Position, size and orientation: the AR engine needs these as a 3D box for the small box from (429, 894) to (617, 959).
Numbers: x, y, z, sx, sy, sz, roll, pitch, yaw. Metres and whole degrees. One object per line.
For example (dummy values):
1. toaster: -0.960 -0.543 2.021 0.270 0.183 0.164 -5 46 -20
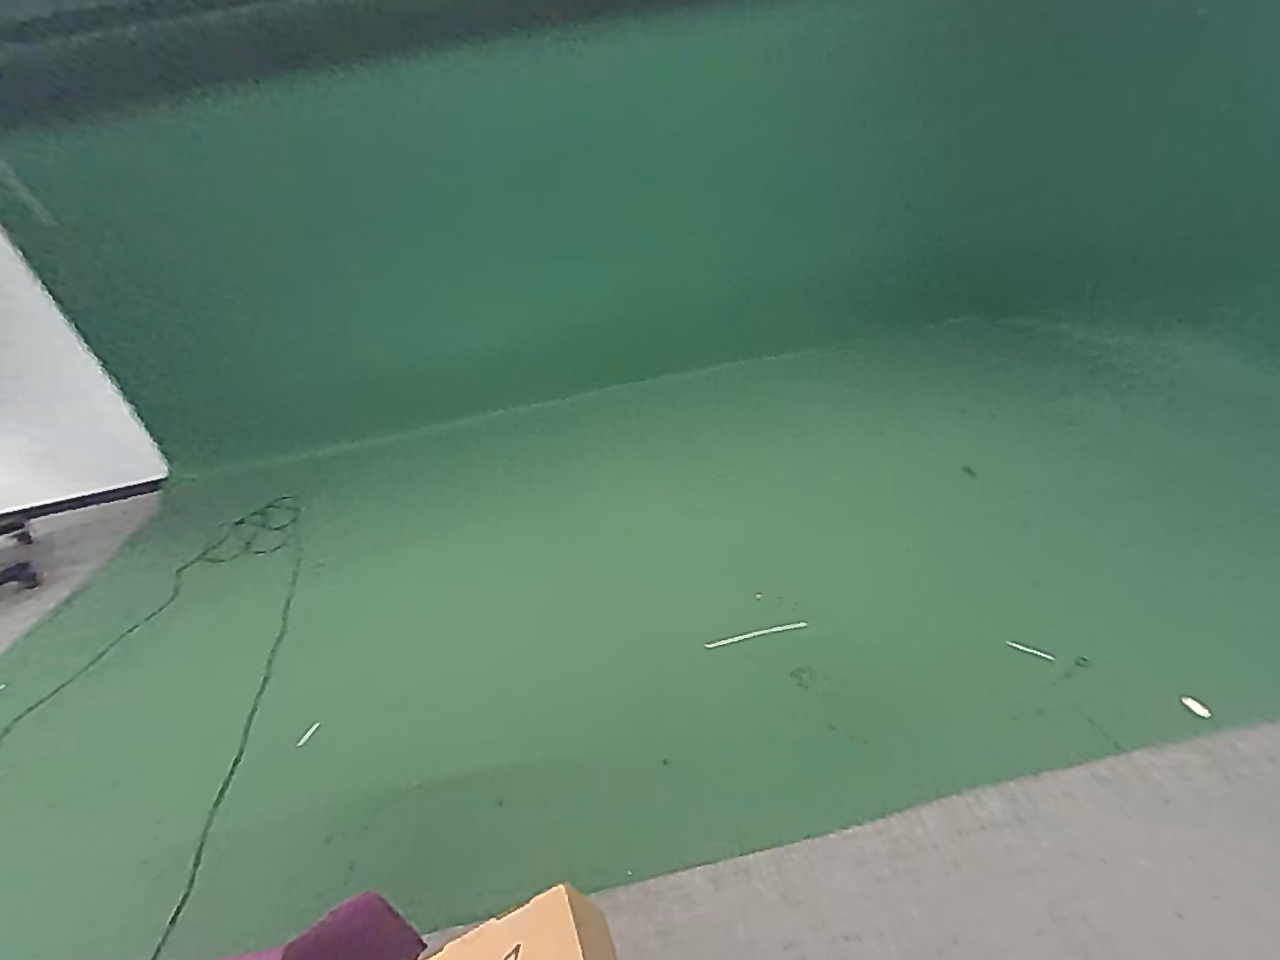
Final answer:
1. small box: -0.093 0.485 0.440 0.168 0.176 0.179 -21 44 -9
